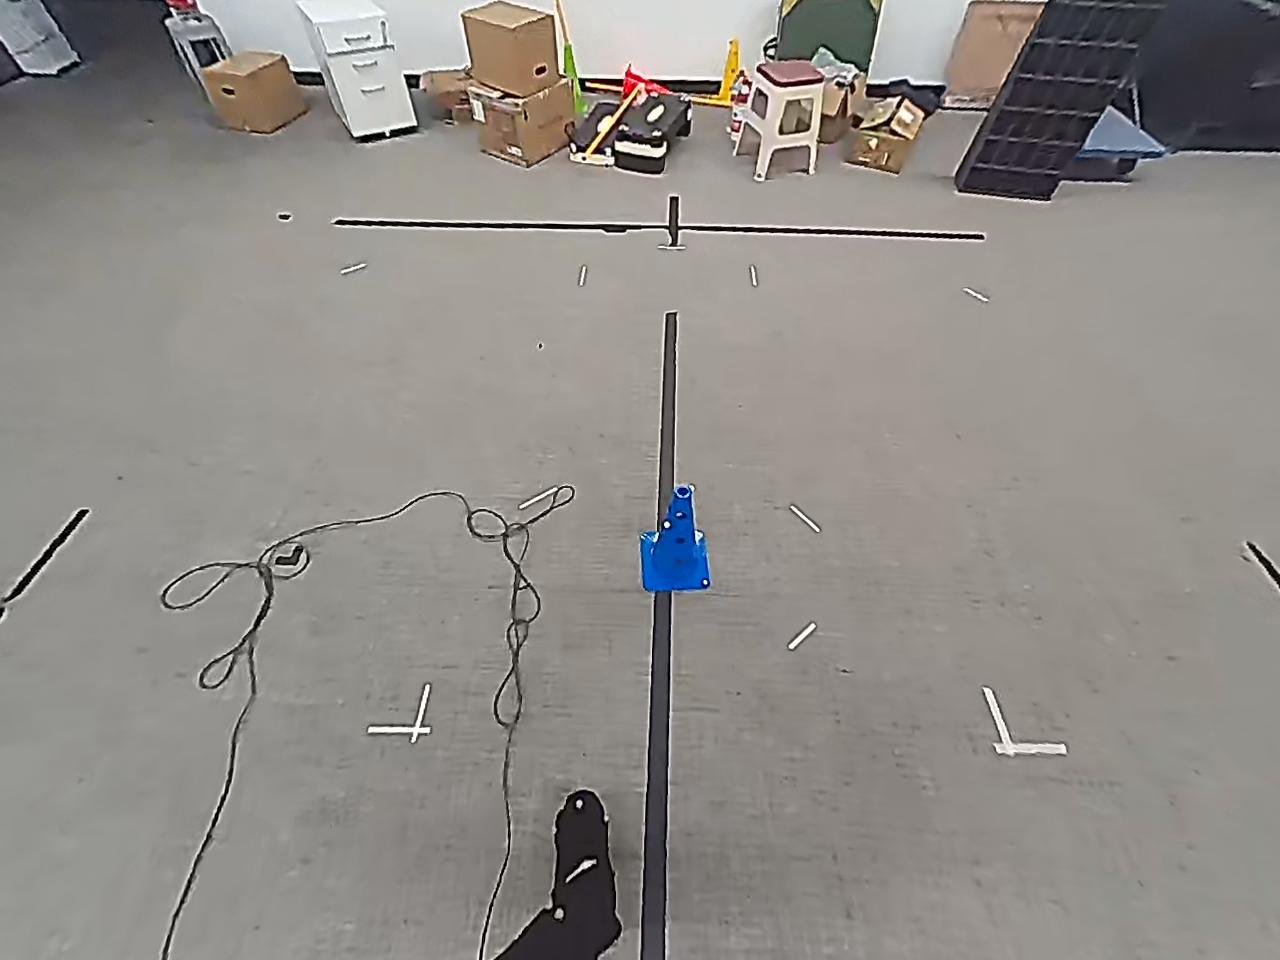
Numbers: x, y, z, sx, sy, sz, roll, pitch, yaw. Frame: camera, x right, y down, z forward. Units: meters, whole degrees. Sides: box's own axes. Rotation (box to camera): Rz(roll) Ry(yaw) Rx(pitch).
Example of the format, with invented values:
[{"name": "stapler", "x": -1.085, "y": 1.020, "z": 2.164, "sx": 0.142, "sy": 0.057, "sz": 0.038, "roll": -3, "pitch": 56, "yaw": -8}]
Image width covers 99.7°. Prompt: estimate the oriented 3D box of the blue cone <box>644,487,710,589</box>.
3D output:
[{"name": "blue cone", "x": 0.113, "y": 0.144, "z": 1.500, "sx": 0.192, "sy": 0.380, "sz": 0.193, "roll": 0, "pitch": 53, "yaw": -2}]
